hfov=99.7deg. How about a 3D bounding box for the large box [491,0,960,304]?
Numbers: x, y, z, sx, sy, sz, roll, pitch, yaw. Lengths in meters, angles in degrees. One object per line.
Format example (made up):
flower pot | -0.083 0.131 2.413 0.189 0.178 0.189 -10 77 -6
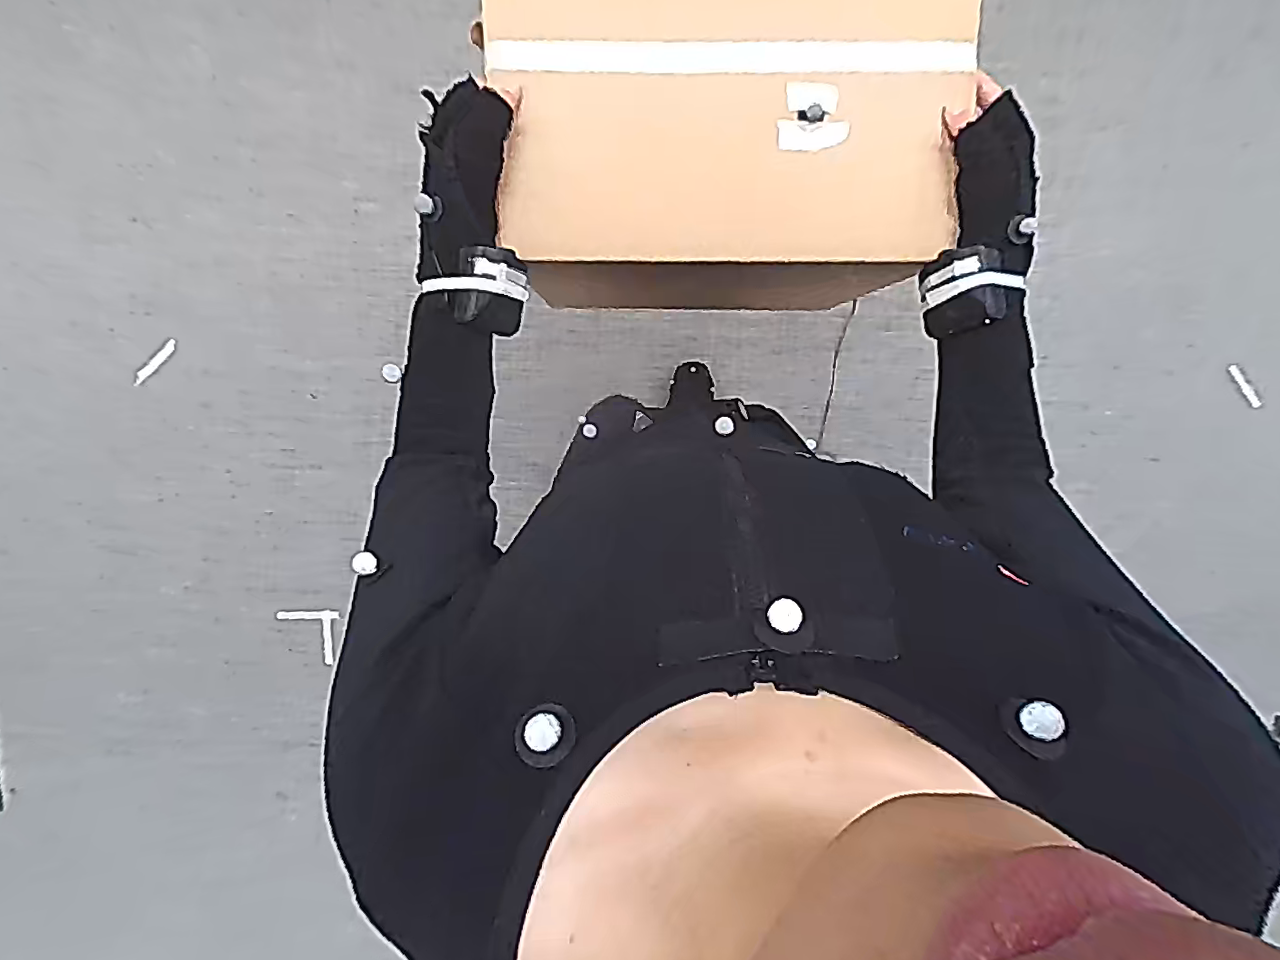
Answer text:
large box | 0.068 -0.385 0.611 0.408 0.320 0.320 -1 101 -2
